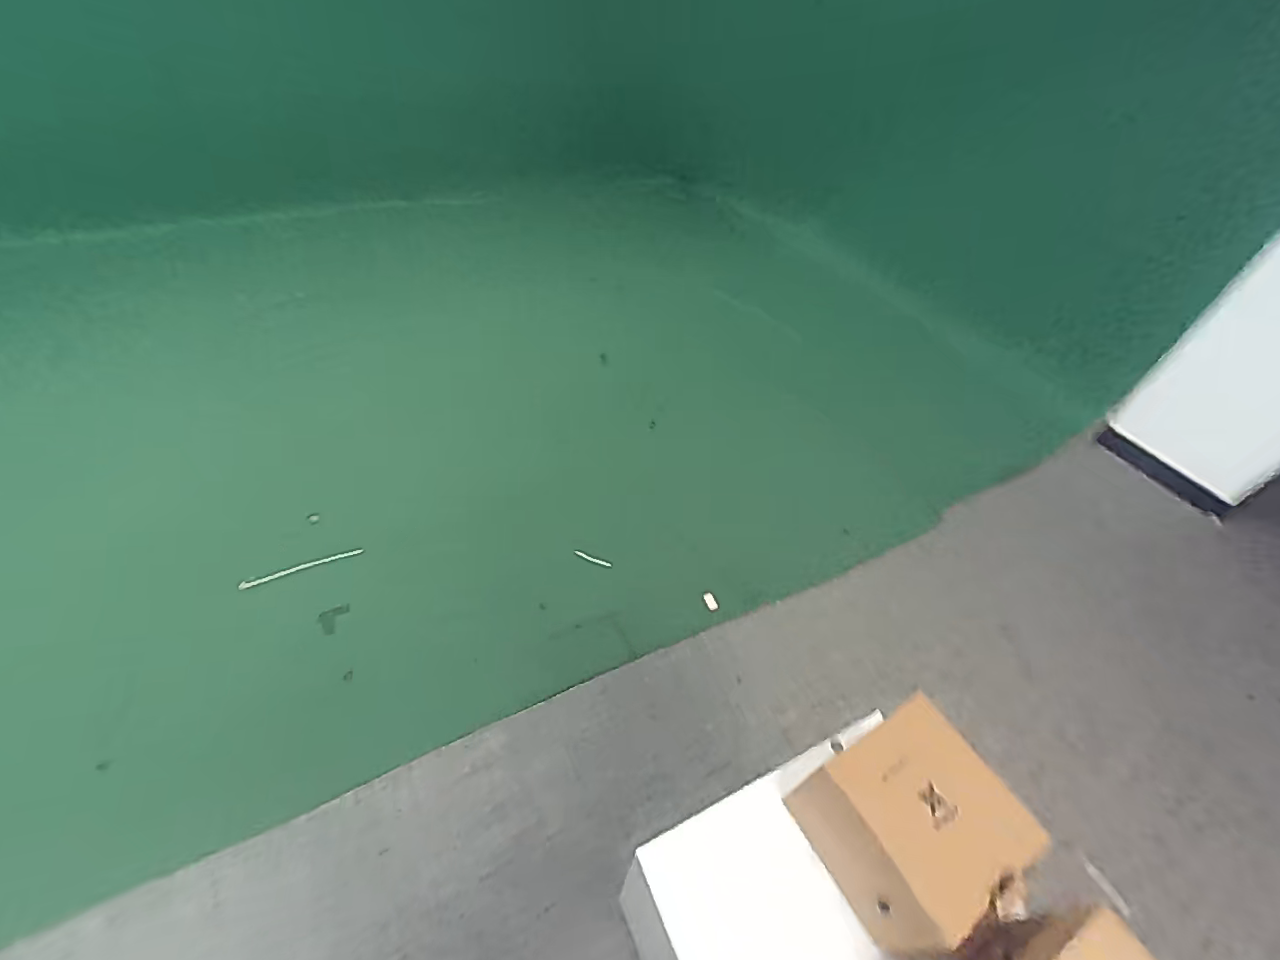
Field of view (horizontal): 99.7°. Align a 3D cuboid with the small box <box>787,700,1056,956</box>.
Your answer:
[{"bbox_3d":[0.301,0.393,0.617,0.168,0.176,0.179,-20,53,-23],"label":"small box"}]
